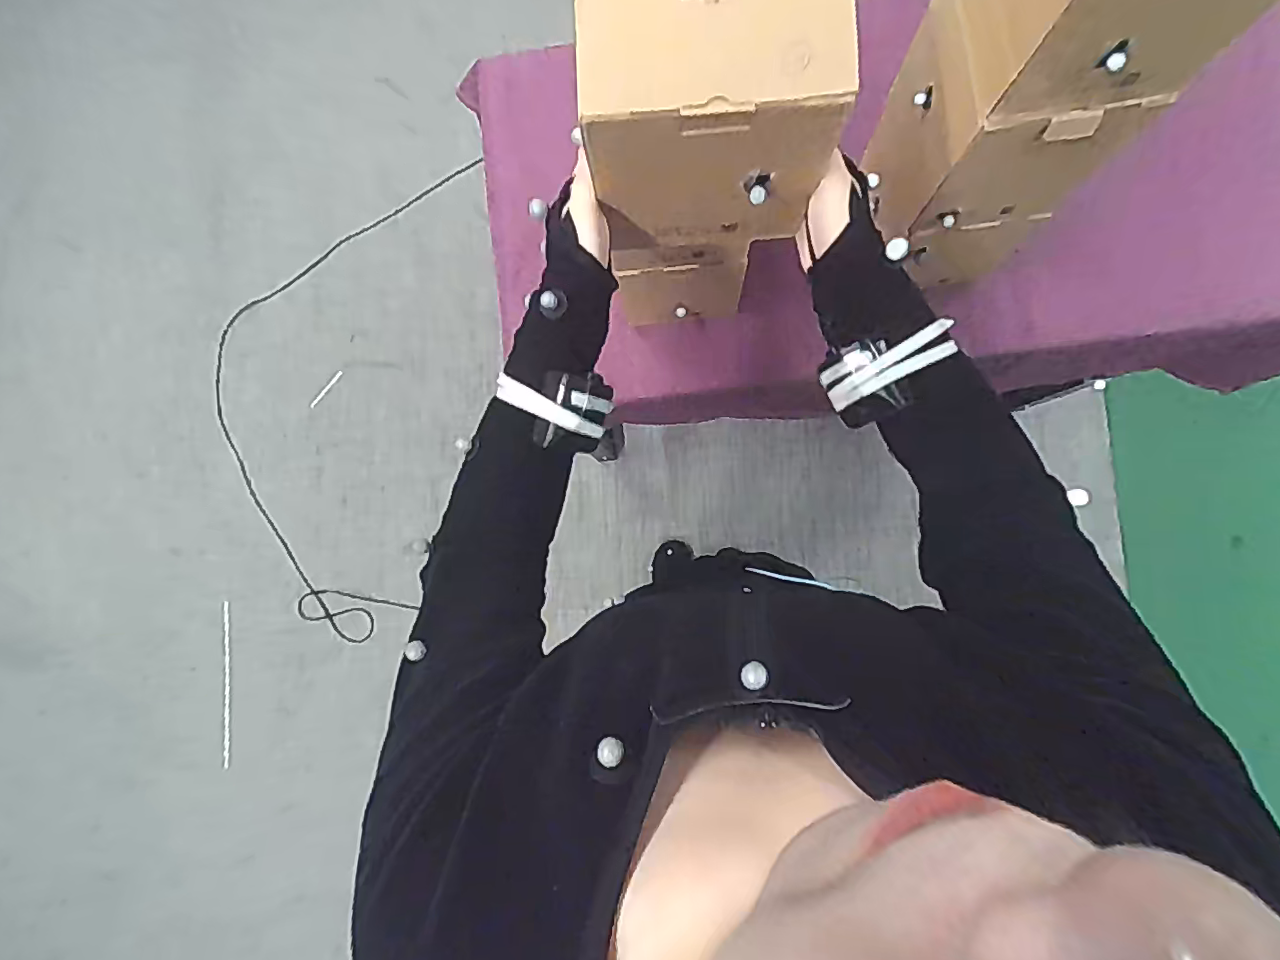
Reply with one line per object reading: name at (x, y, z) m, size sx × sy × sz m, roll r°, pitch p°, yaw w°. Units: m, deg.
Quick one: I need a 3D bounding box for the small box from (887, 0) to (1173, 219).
small box at (0.378, -0.397, 0.562) m, size 0.168 × 0.176 × 0.179 m, roll -7°, pitch 83°, yaw 4°

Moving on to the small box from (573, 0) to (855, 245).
small box at (0.046, -0.292, 0.400) m, size 0.168 × 0.176 × 0.179 m, roll -3°, pitch 87°, yaw 3°

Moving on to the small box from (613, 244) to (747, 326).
small box at (0.050, -0.334, 0.749) m, size 0.168 × 0.176 × 0.179 m, roll -6°, pitch 84°, yaw 5°

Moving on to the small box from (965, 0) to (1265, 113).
small box at (0.366, -0.423, 0.401) m, size 0.168 × 0.176 × 0.179 m, roll -8°, pitch 84°, yaw 4°

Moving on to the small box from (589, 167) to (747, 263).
small box at (0.035, -0.355, 0.587) m, size 0.168 × 0.176 × 0.179 m, roll -6°, pitch 84°, yaw 4°
